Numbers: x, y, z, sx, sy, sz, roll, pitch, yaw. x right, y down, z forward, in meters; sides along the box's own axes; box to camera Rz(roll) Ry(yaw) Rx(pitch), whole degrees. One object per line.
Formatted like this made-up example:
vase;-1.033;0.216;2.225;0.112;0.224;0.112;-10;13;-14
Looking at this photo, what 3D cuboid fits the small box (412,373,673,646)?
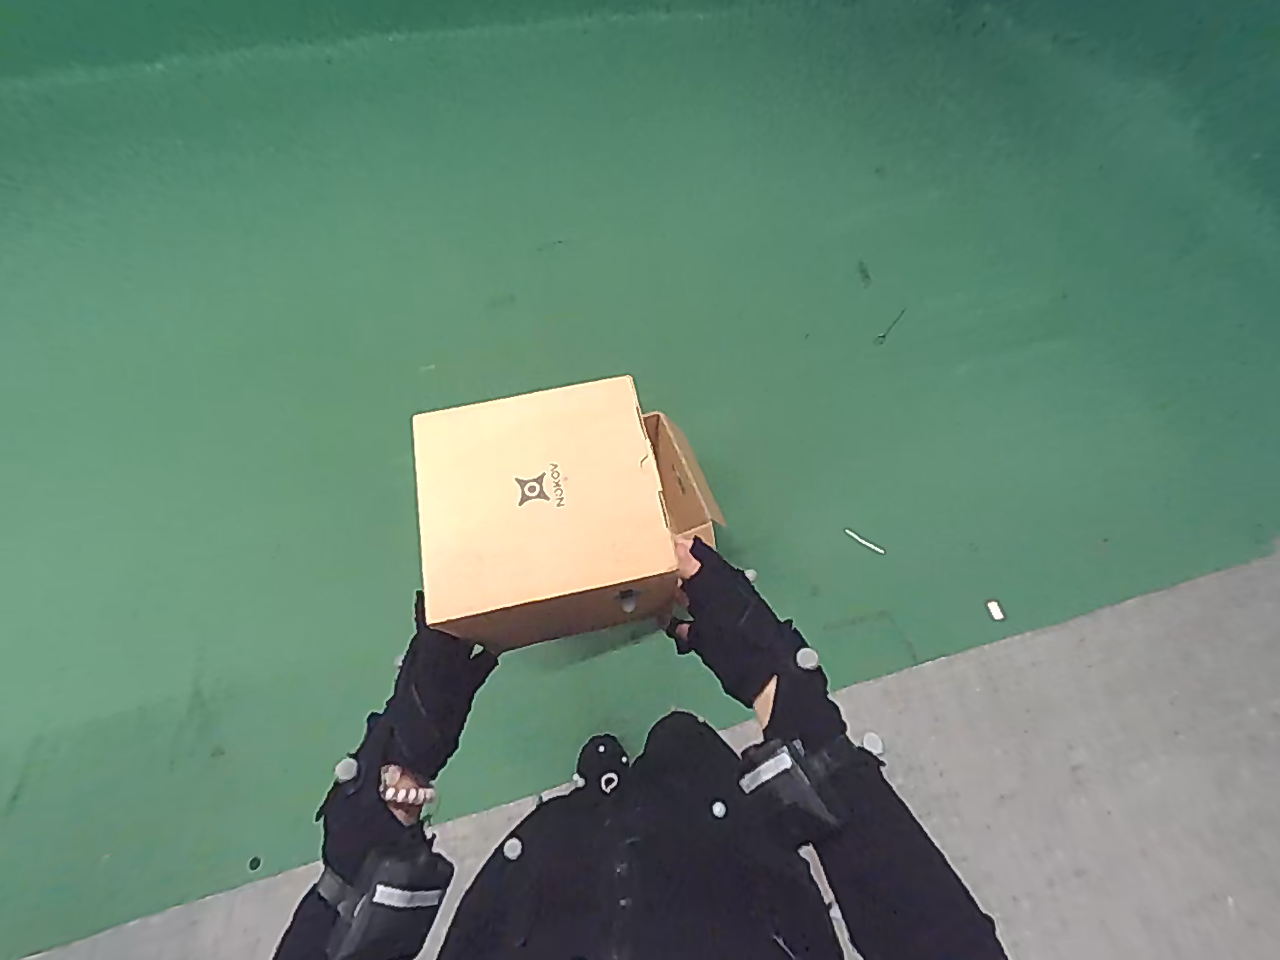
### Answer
small box;-0.075;0.037;0.466;0.179;0.176;0.168;-12;67;-4
